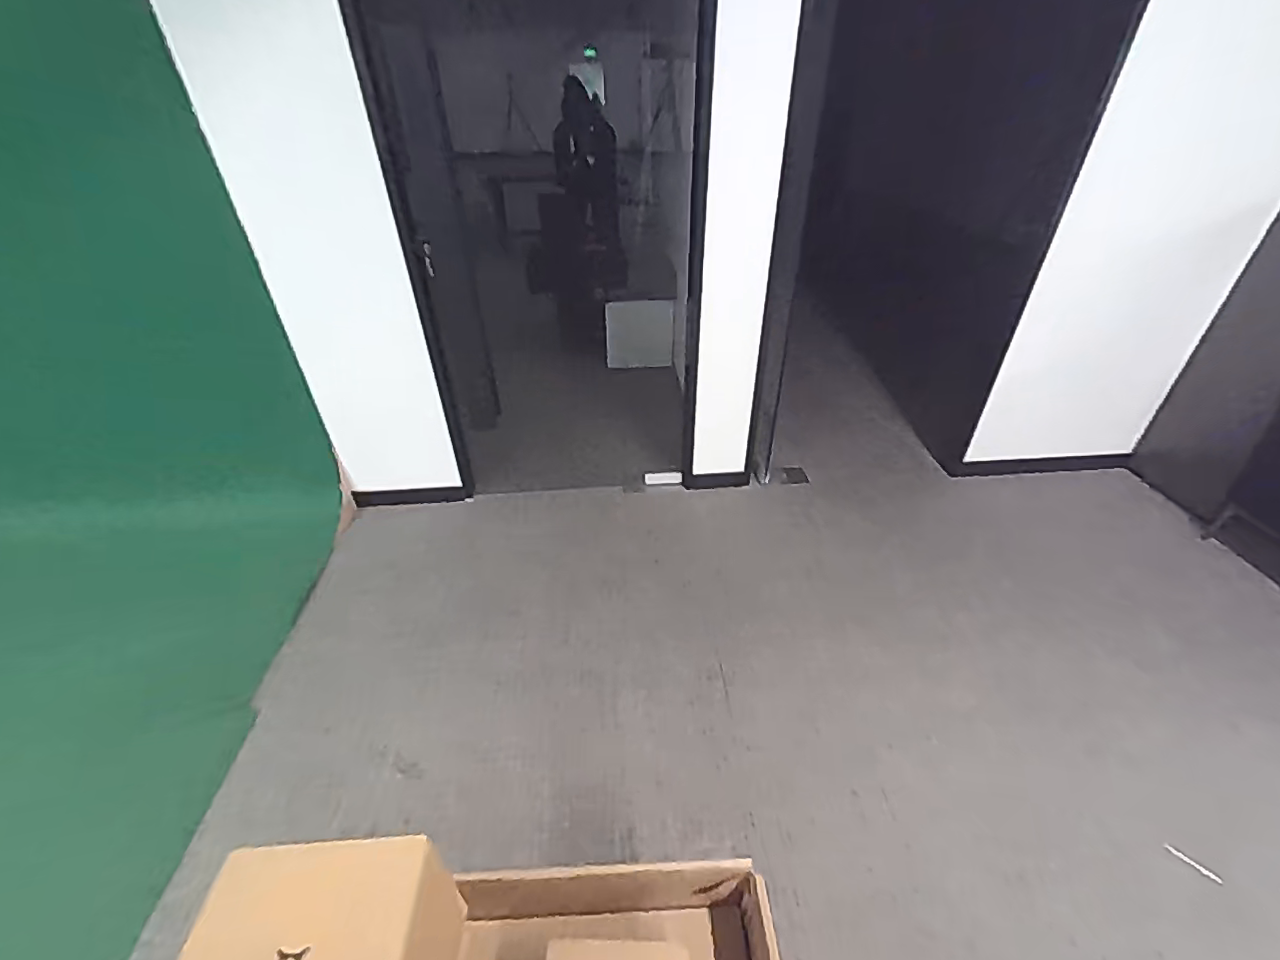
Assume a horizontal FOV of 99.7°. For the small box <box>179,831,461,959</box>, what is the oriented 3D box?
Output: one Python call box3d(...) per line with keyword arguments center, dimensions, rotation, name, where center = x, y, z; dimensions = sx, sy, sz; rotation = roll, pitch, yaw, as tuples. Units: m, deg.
box3d(center=(-0.254, 0.419, 0.436), dimensions=(0.168, 0.176, 0.179), rotation=(-3, 36, -2), name="small box")
